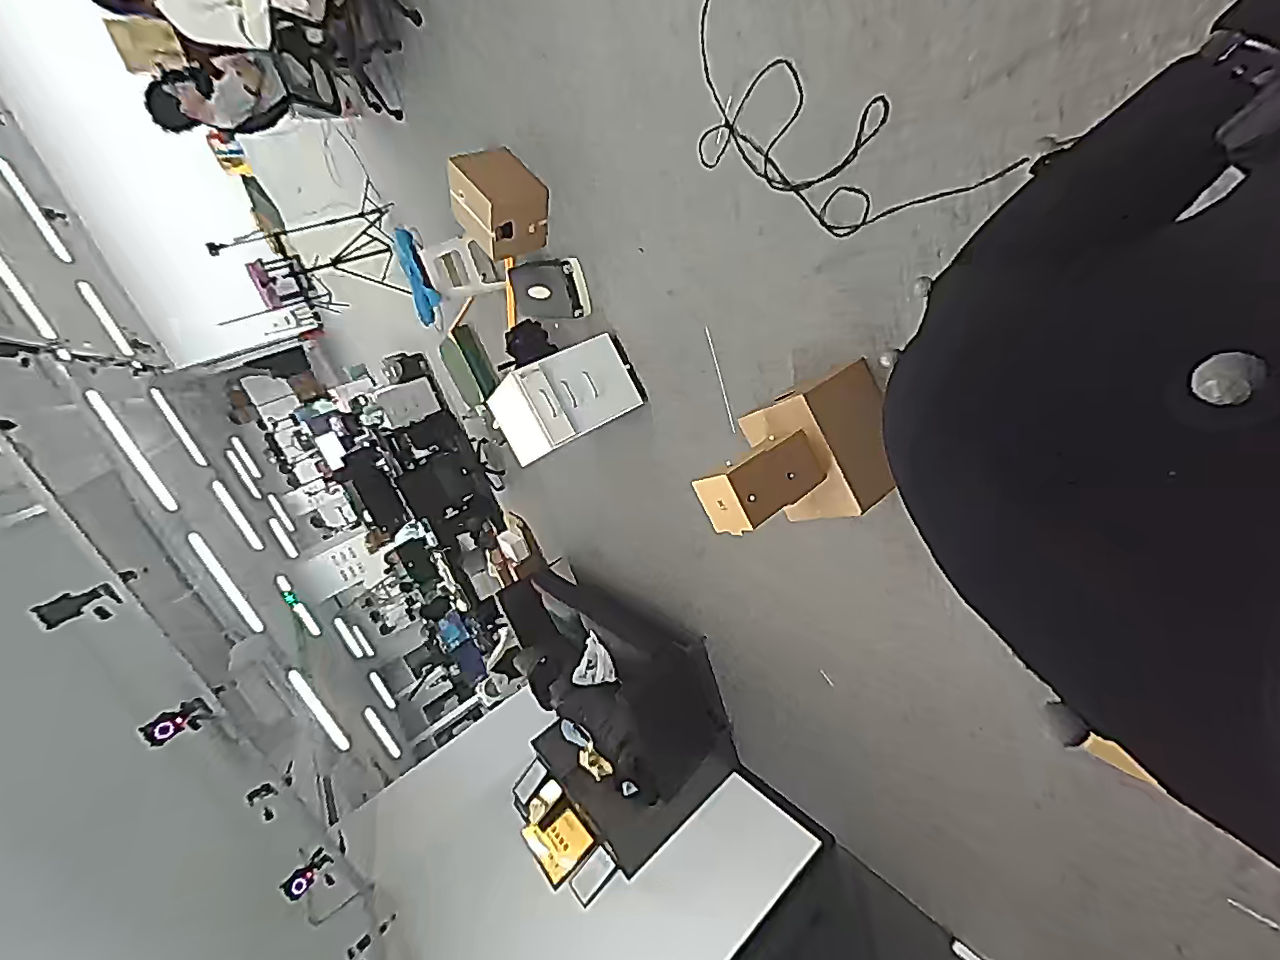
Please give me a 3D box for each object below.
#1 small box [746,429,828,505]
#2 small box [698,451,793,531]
[{"bbox_3d":[0.438,-0.032,1.648,0.168,0.176,0.179,-16,102,61],"label":"small box"},{"bbox_3d":[0.308,0.029,1.570,0.168,0.176,0.179,-15,104,60],"label":"small box"}]
